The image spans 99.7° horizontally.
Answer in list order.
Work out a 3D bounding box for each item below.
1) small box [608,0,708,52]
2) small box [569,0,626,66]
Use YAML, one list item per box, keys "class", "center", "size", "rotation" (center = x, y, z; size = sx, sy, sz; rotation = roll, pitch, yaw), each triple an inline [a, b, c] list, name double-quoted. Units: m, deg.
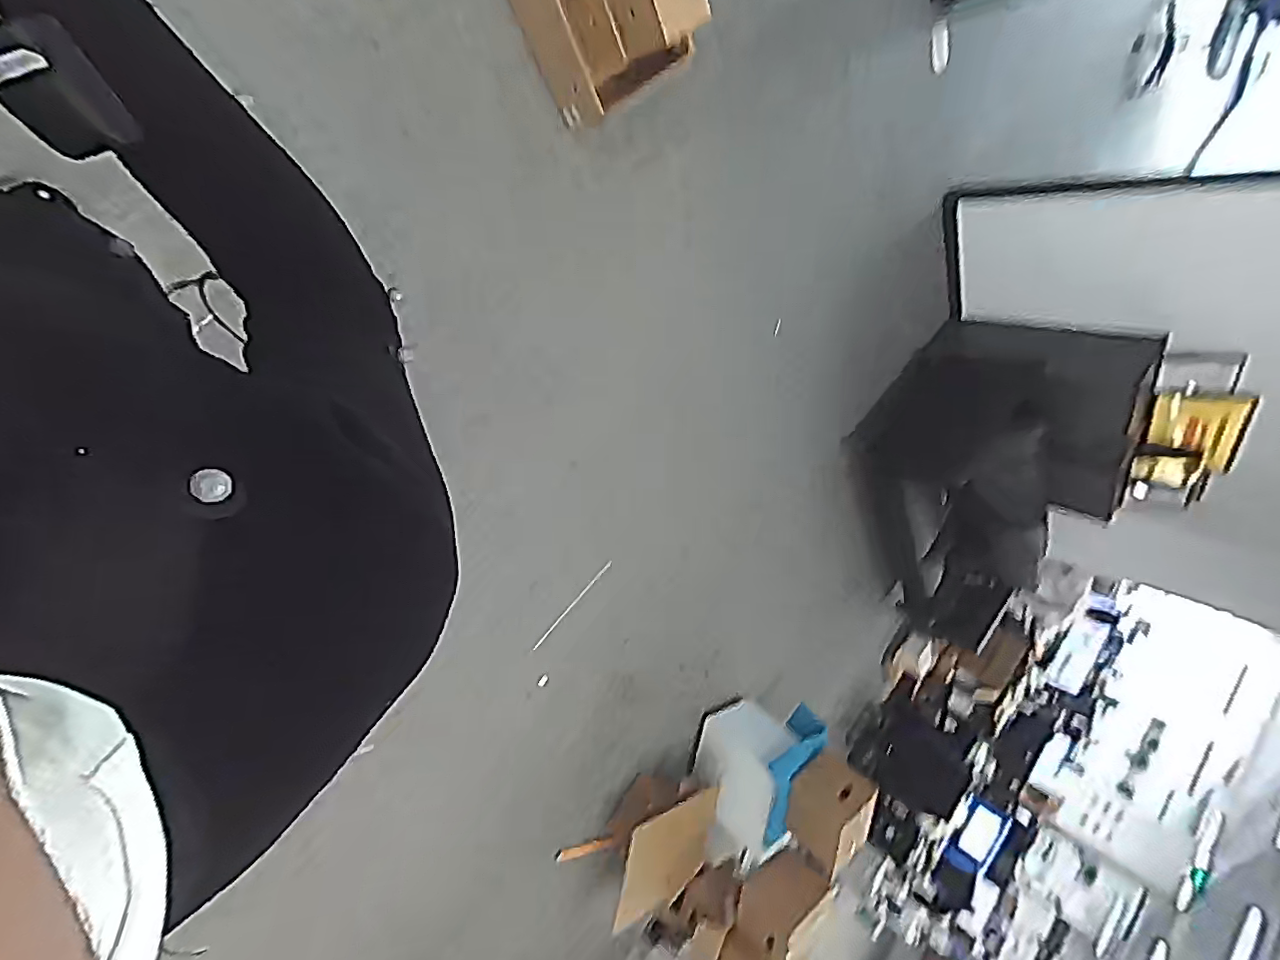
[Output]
- class: "small box"
  center: [0.034, -1.218, 1.356]
  size: [0.179, 0.176, 0.168]
  rotation: [-45, 131, -18]
- class: "small box"
  center: [-0.071, -1.270, 1.473]
  size: [0.179, 0.176, 0.168]
  rotation: [-45, 131, -17]
